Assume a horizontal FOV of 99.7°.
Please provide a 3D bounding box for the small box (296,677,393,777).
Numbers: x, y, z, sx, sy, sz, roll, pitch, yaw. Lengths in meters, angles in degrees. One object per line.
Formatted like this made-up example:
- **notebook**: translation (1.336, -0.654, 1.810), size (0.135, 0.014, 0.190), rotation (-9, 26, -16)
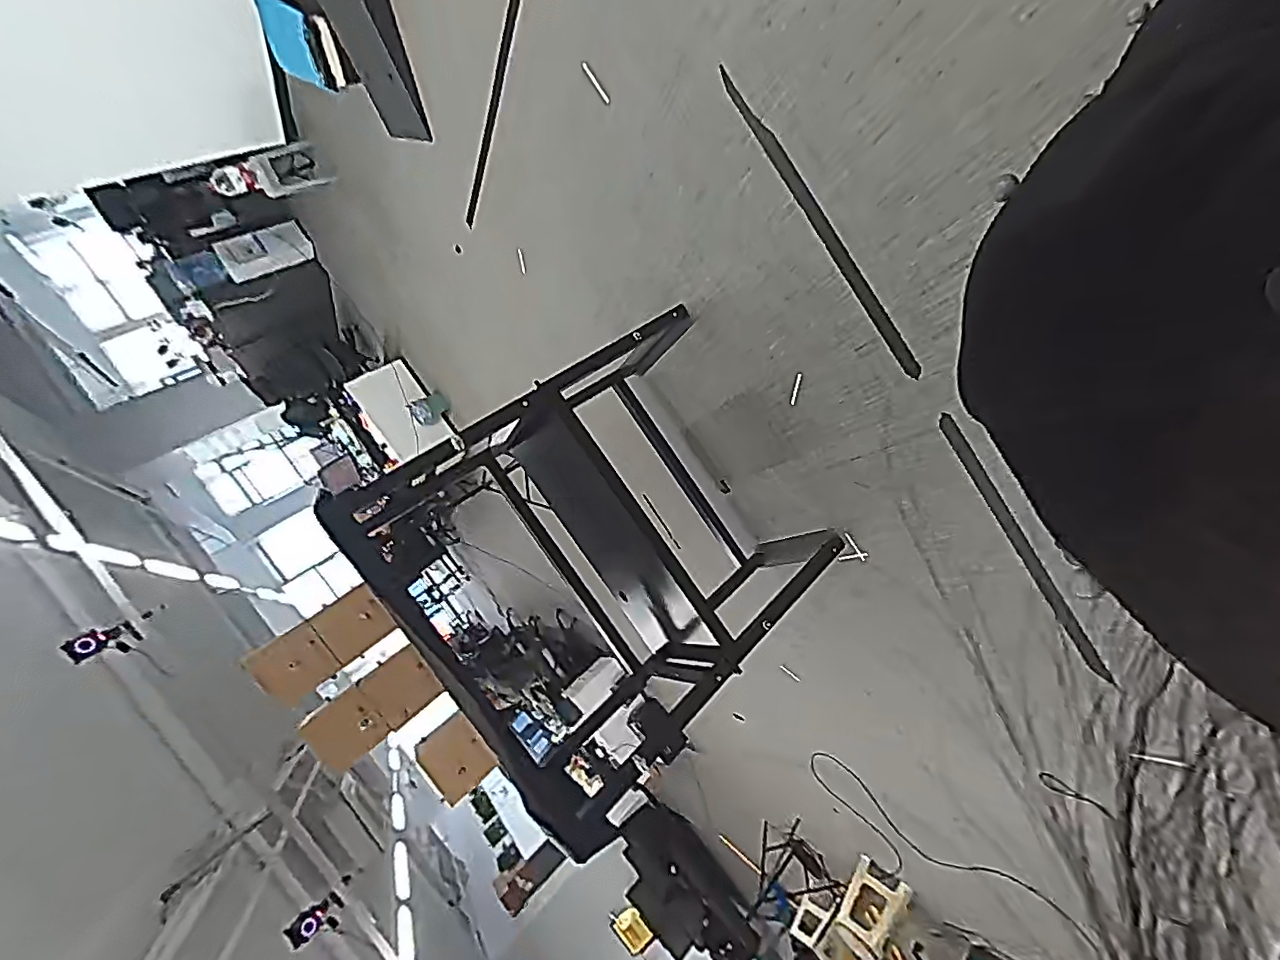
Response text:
- **small box**: translation (-0.795, 0.662, 1.476), size (0.168, 0.176, 0.179), rotation (54, 153, -4)

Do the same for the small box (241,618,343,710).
- **small box**: translation (-0.917, 0.481, 1.449), size (0.168, 0.176, 0.179), rotation (56, 152, -6)

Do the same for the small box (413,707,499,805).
- **small box**: translation (-0.532, 0.791, 1.574), size (0.168, 0.176, 0.179), rotation (57, 153, -6)

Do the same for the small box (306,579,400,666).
- **small box**: translation (-0.799, 0.394, 1.523), size (0.168, 0.176, 0.179), rotation (55, 153, -5)
